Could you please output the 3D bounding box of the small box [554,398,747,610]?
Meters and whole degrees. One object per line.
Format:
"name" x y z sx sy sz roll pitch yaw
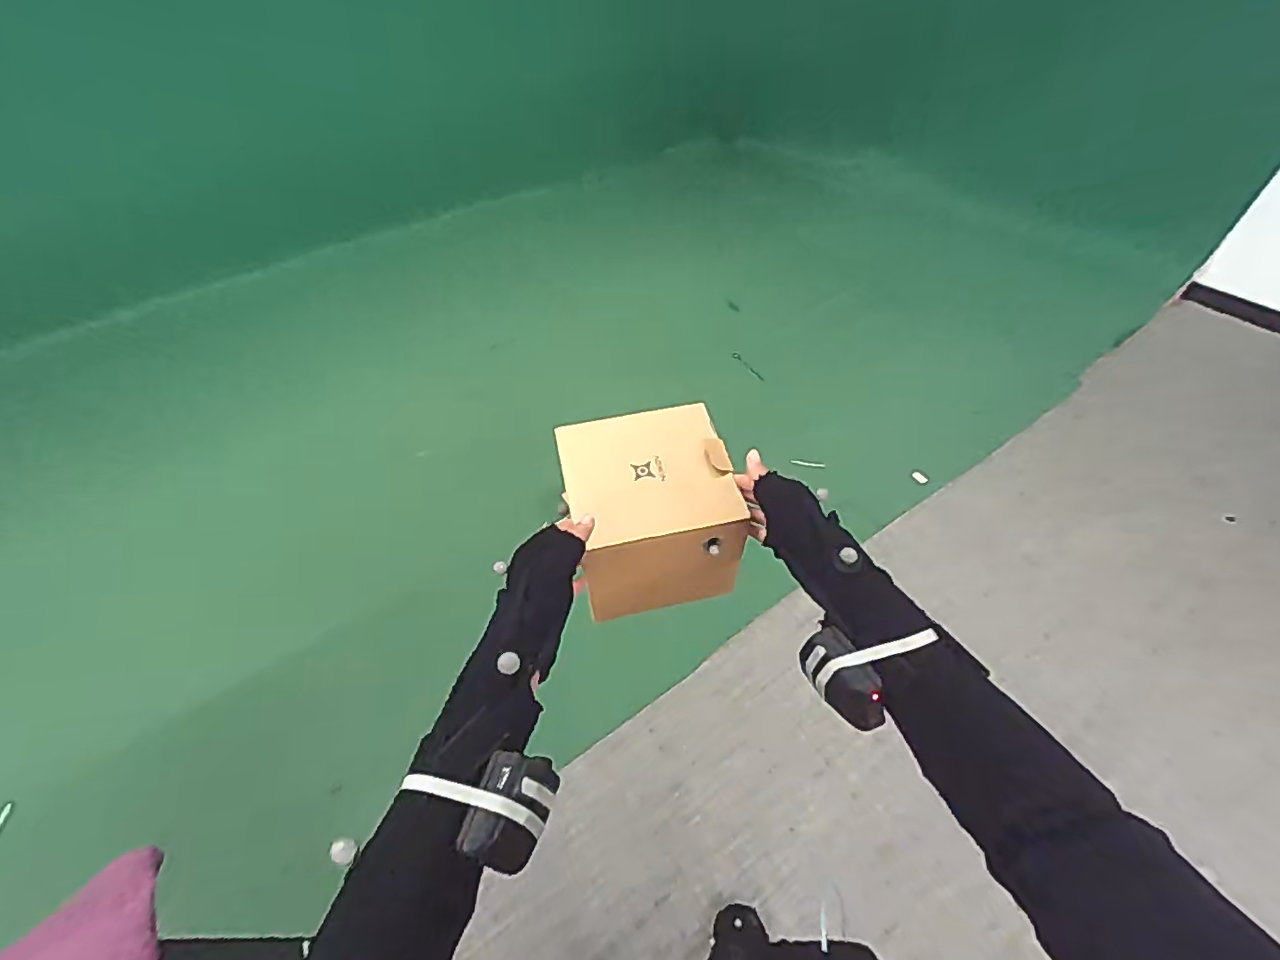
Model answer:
"small box" 0.007 0.032 0.628 0.179 0.176 0.168 -11 53 -8
